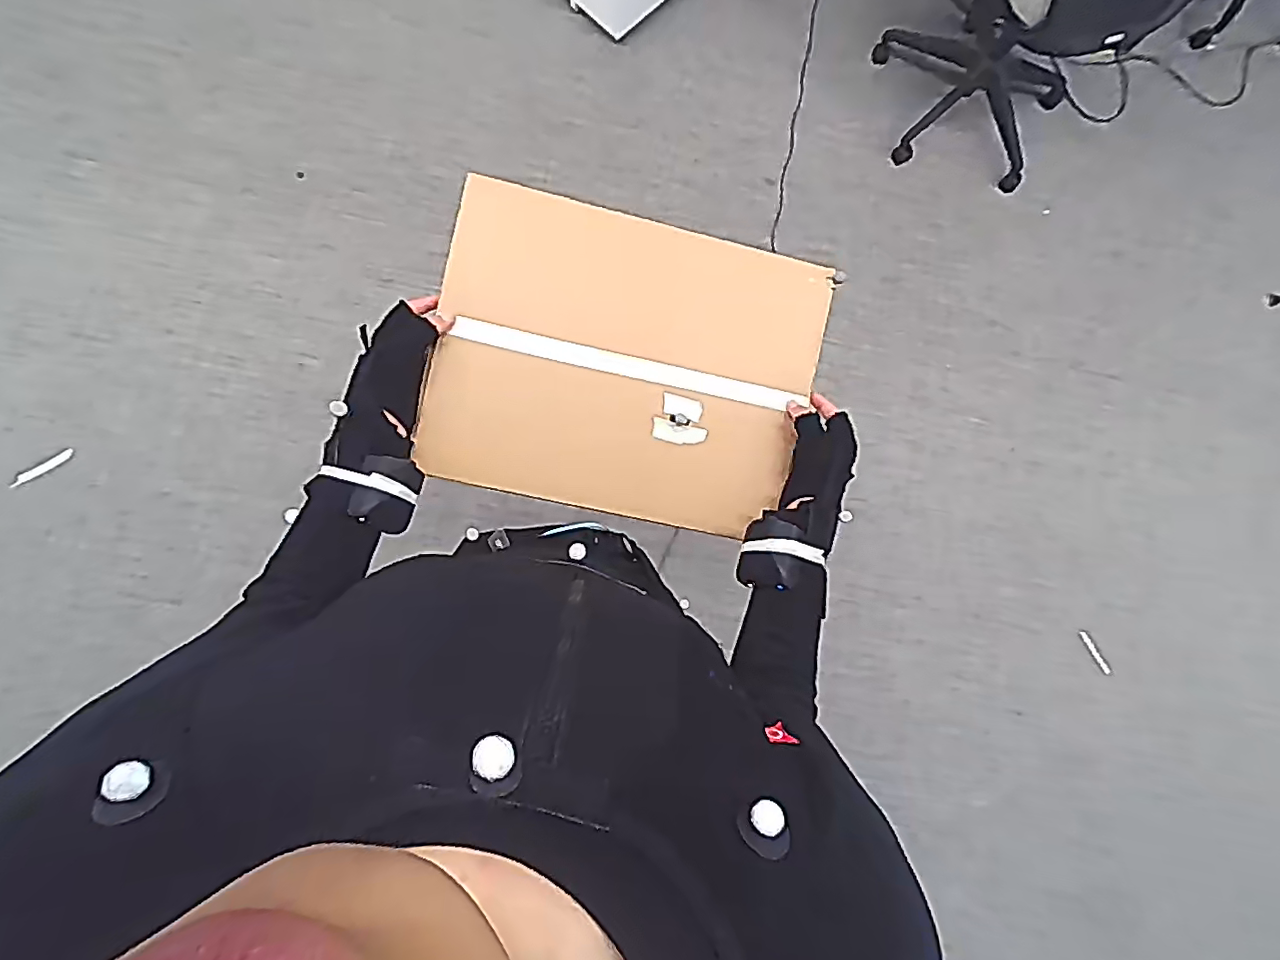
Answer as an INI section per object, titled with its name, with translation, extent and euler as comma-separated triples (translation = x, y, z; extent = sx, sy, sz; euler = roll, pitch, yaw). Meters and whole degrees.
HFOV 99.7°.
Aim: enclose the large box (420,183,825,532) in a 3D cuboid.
[large box]
translation = -0.029, -0.131, 0.738
extent = 0.408, 0.320, 0.320
euler = 12, 91, -7
